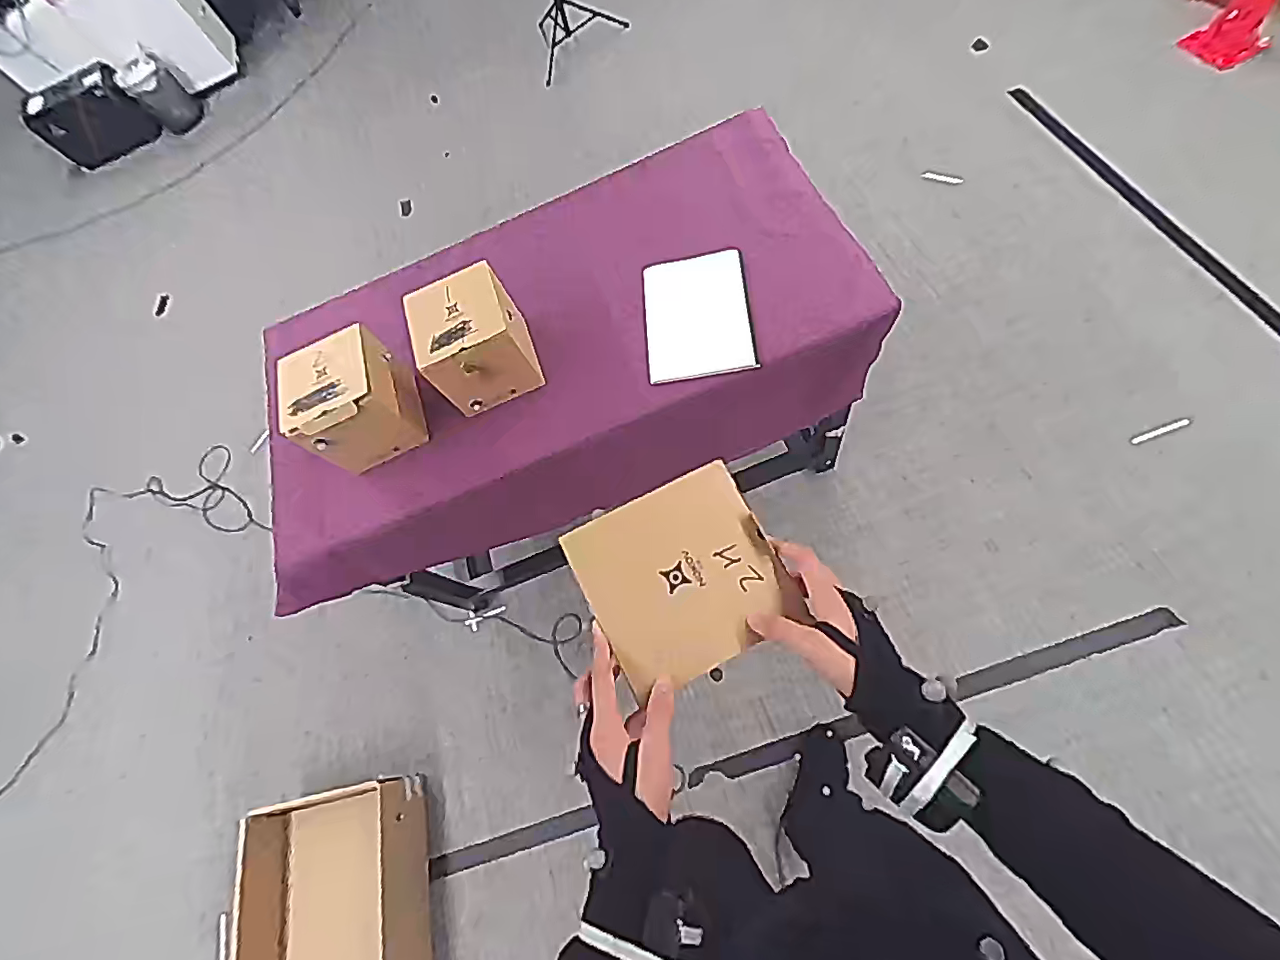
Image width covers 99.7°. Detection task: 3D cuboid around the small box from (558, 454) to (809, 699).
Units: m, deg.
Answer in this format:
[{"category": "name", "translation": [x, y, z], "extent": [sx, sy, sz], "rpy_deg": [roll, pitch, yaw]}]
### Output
[{"category": "small box", "translation": [0.035, 0.104, 0.558], "extent": [0.179, 0.176, 0.168], "rpy_deg": [-26, 76, -11]}]
